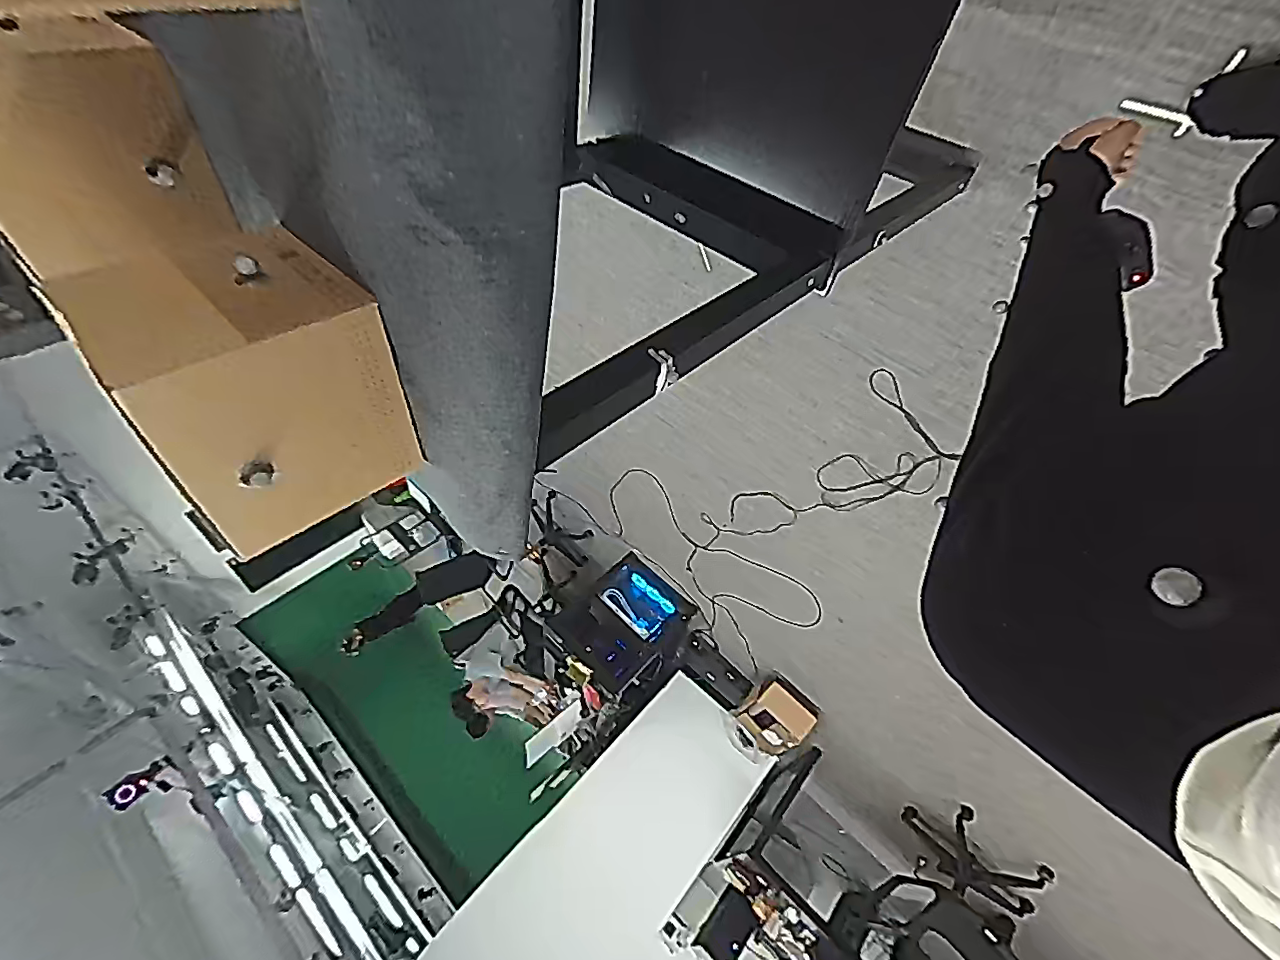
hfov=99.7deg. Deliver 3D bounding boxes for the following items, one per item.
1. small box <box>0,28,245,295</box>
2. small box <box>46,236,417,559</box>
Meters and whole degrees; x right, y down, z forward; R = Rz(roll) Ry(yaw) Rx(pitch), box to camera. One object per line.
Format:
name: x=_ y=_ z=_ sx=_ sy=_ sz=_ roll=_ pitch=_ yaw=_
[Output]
small box: x=-0.515 y=-0.295 z=0.497 sx=0.168 sy=0.176 sz=0.179 roll=37 pitch=143 yaw=23
small box: x=-0.315 y=-0.075 z=0.455 sx=0.168 sy=0.176 sz=0.179 roll=36 pitch=144 yaw=25
